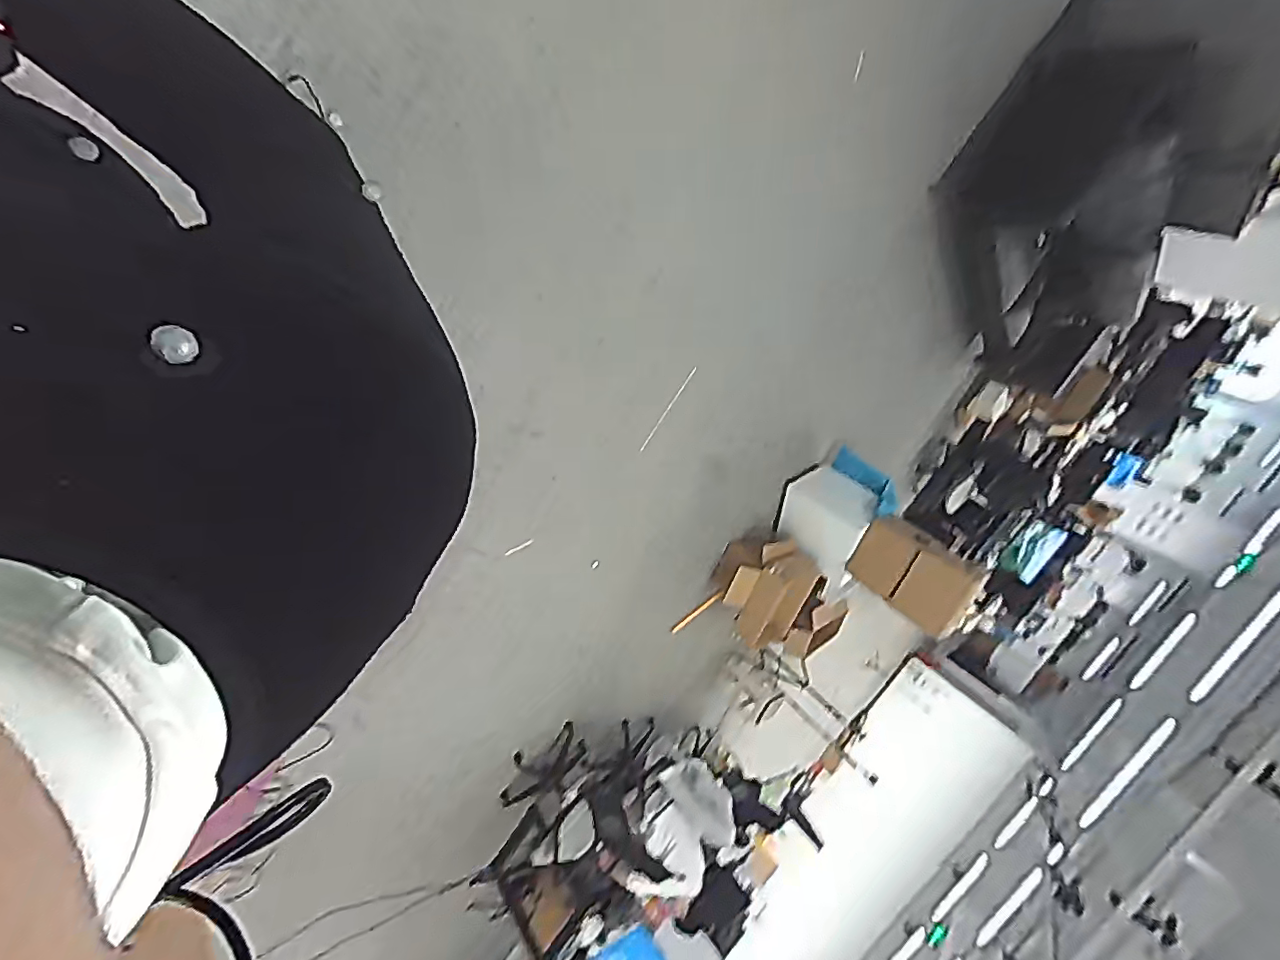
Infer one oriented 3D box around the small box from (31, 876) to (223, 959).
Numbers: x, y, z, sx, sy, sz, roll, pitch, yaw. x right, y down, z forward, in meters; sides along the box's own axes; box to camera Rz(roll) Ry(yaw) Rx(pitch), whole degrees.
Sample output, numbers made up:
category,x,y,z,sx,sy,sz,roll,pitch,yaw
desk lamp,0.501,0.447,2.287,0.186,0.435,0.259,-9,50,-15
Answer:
category,x,y,z,sx,sy,sz,roll,pitch,yaw
small box,-0.670,0.664,0.690,0.179,0.176,0.168,16,111,-50
